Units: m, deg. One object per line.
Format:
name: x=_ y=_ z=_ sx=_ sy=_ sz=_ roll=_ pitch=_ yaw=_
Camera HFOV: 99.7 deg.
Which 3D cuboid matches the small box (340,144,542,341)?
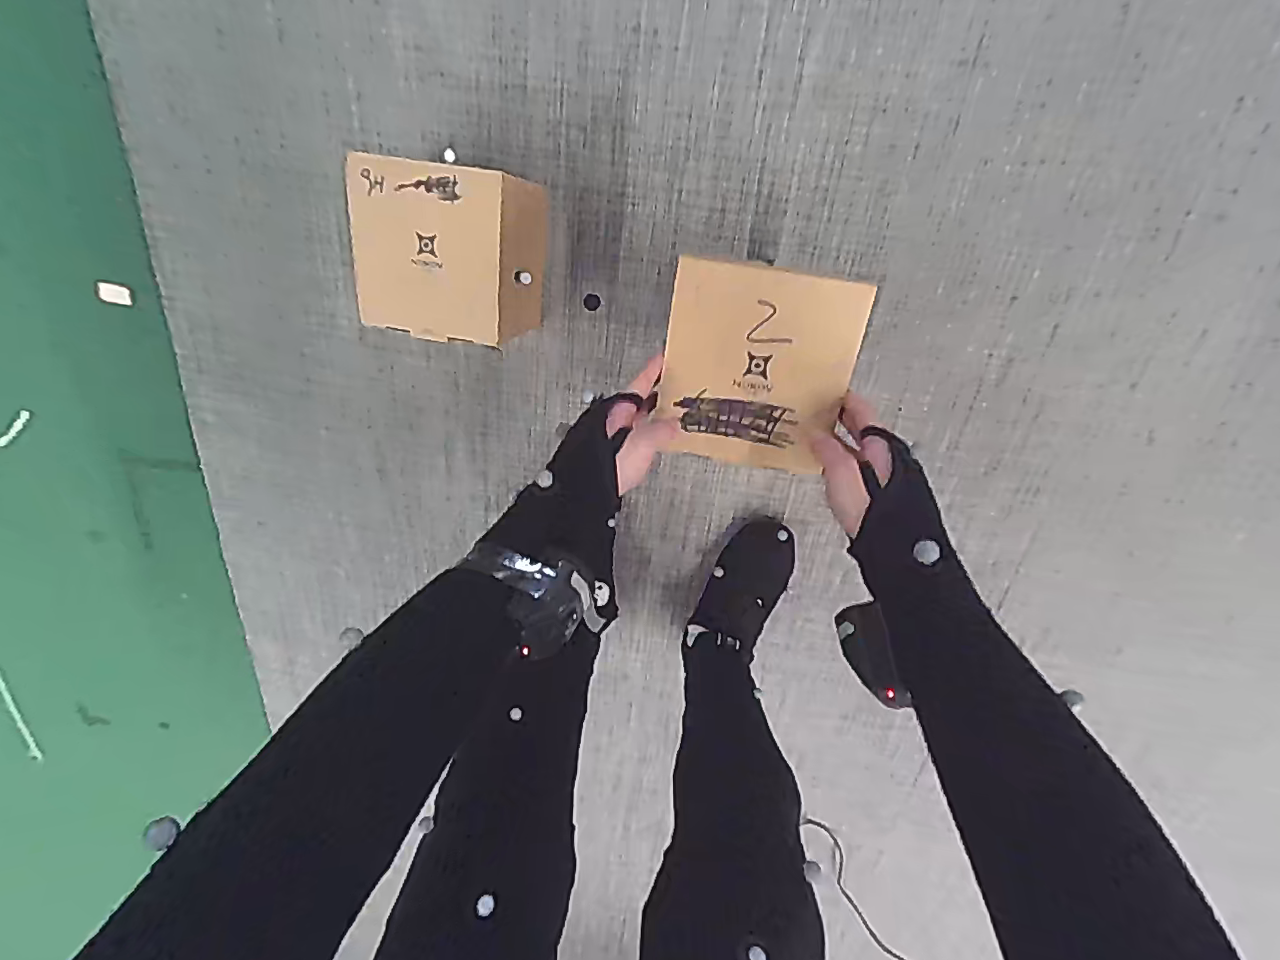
small box: x=-0.220 y=-0.279 z=0.643 sx=0.168 sy=0.176 sz=0.179 roll=9 pitch=115 yaw=3
